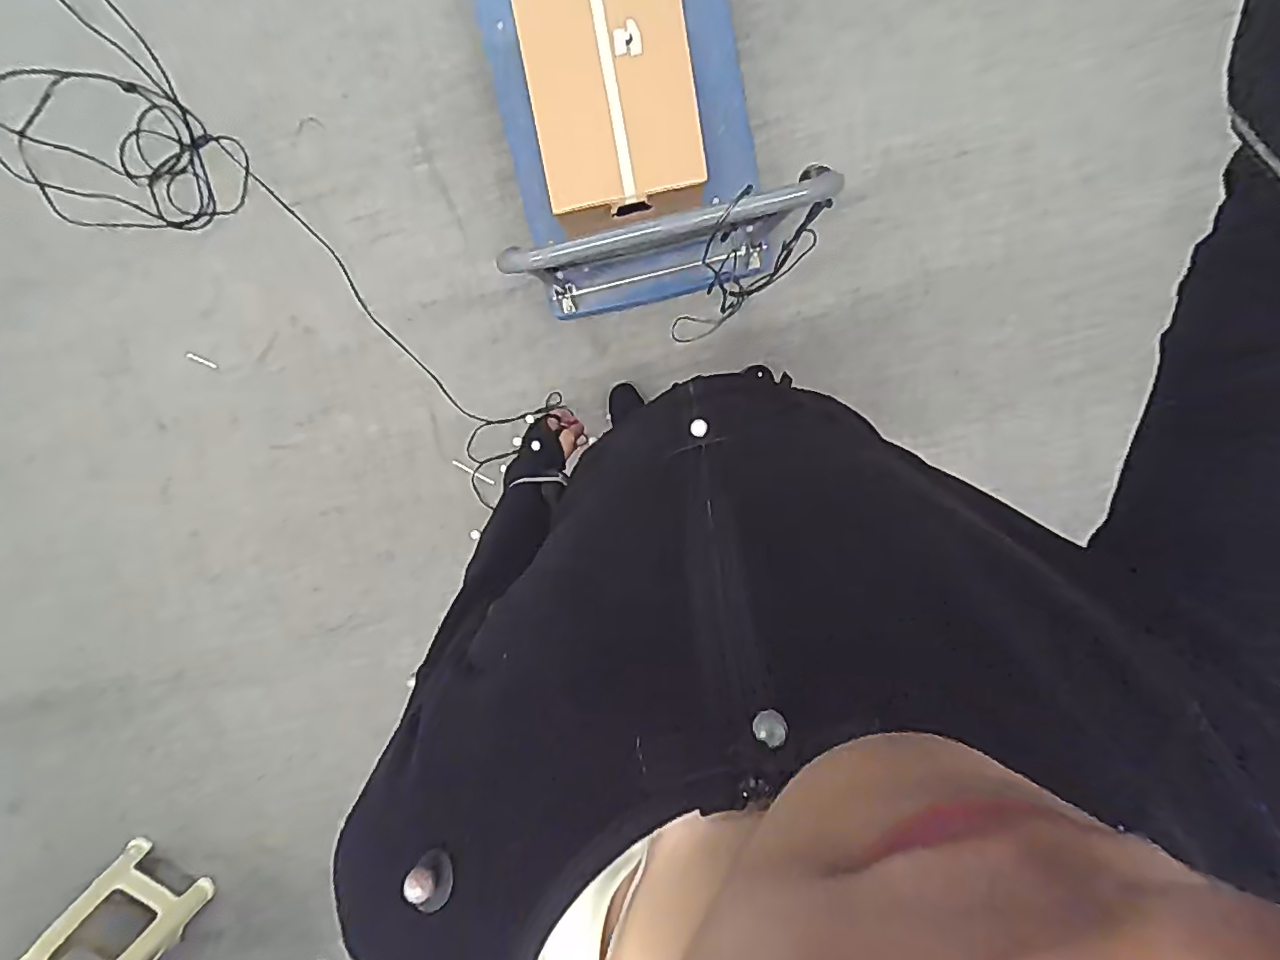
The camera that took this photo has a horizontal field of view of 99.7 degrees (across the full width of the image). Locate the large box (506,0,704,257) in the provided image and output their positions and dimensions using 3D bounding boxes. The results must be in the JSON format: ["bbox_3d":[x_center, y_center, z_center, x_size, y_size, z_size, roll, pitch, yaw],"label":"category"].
[{"bbox_3d":[-0.055,-0.752,1.168,0.320,0.320,0.408,-10,99,4],"label":"large box"}]
